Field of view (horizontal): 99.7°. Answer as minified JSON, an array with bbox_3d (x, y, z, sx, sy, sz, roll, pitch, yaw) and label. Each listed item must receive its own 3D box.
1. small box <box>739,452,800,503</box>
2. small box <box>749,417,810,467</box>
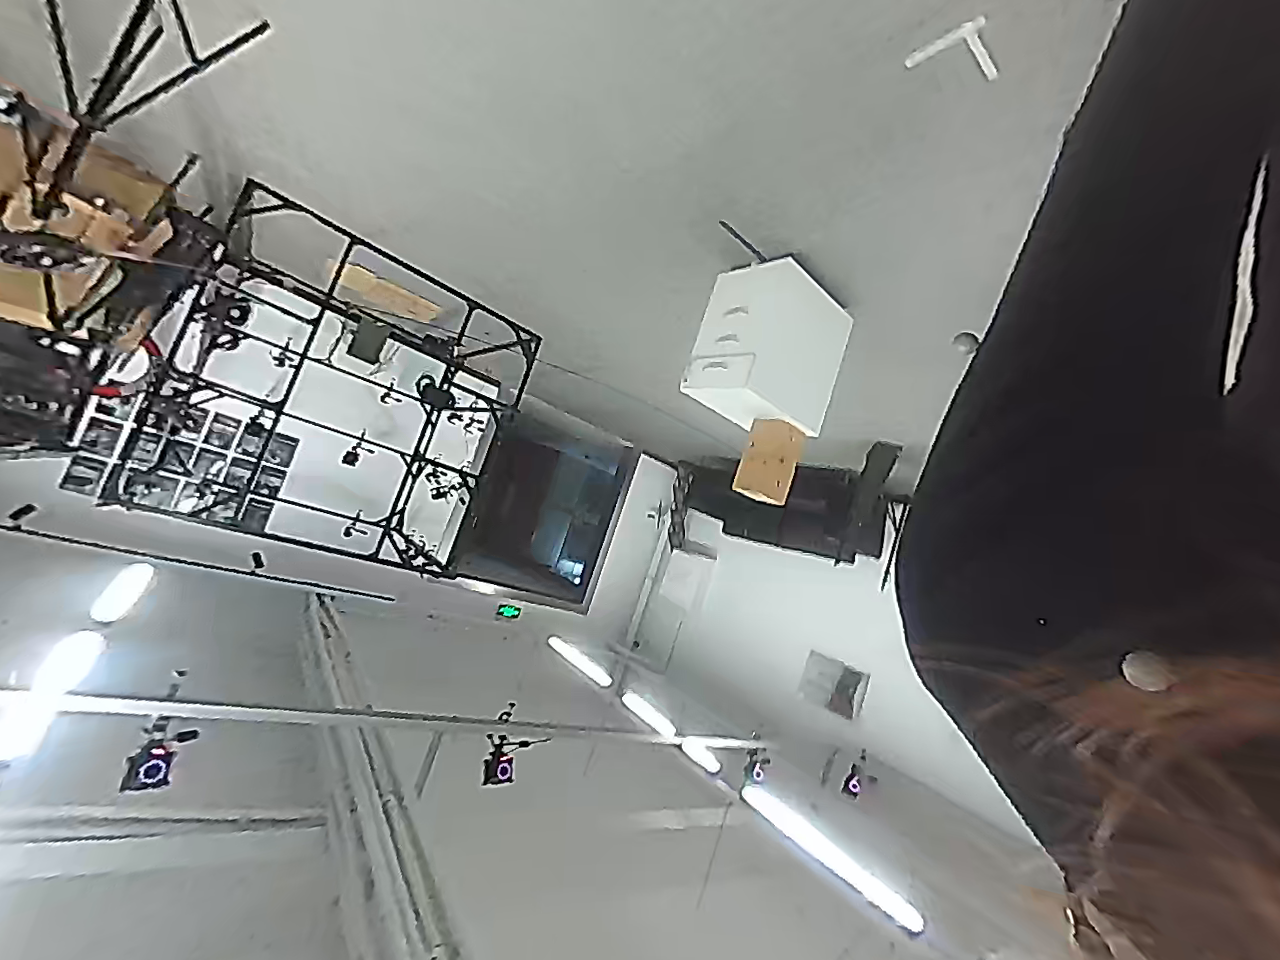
[{"bbox_3d":[0.567,-0.015,2.368,0.179,0.176,0.168,22,175,-36],"label":"small box"},{"bbox_3d":[0.618,-0.171,2.385,0.168,0.176,0.179,23,175,-35],"label":"small box"}]
